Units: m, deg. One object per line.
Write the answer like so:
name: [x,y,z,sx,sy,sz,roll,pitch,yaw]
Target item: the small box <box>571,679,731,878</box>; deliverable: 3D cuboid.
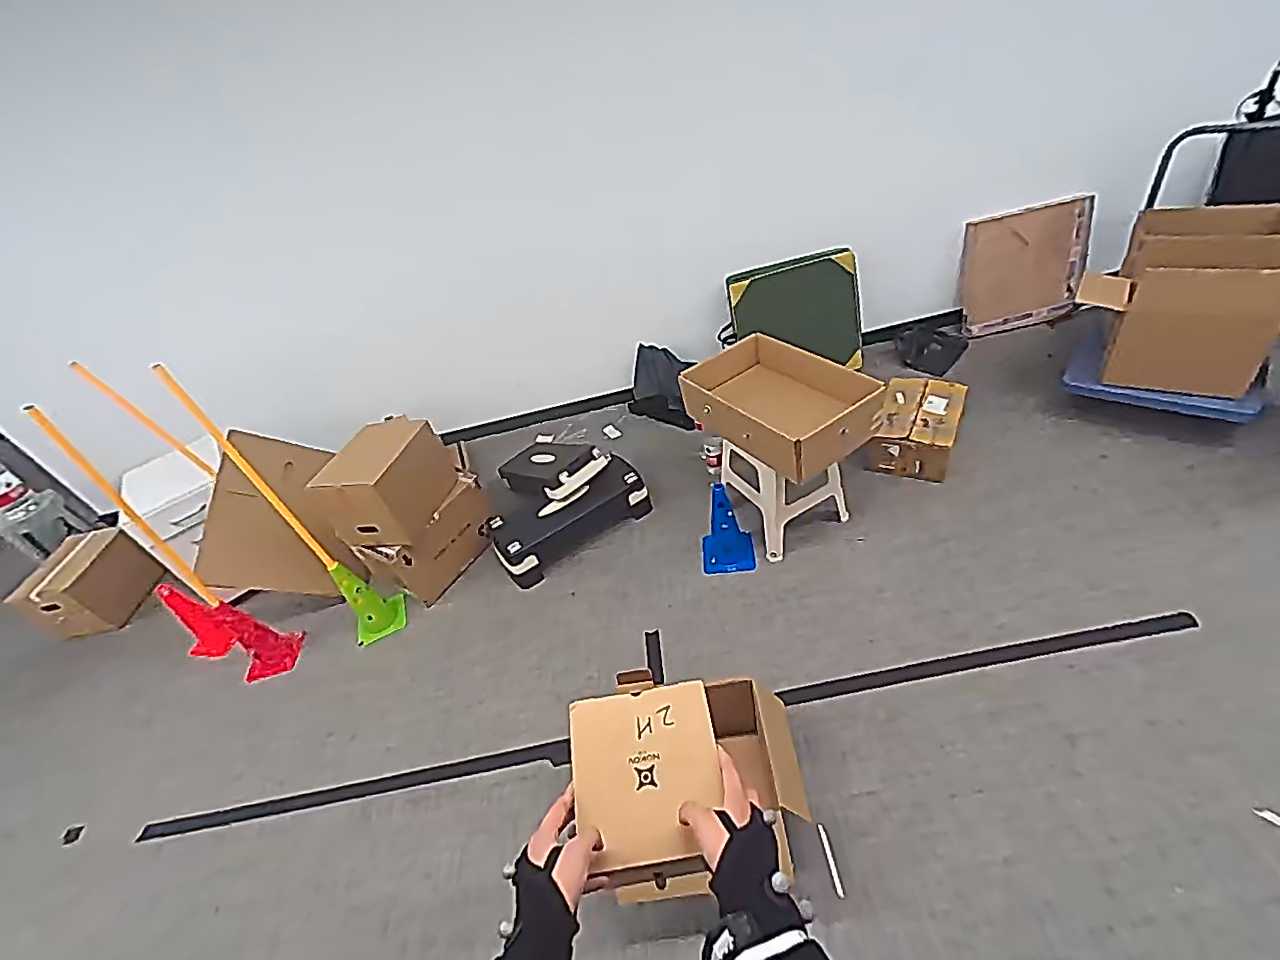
small box: [0.014,0.371,0.664,0.168,0.176,0.179,-9,49,-1]
